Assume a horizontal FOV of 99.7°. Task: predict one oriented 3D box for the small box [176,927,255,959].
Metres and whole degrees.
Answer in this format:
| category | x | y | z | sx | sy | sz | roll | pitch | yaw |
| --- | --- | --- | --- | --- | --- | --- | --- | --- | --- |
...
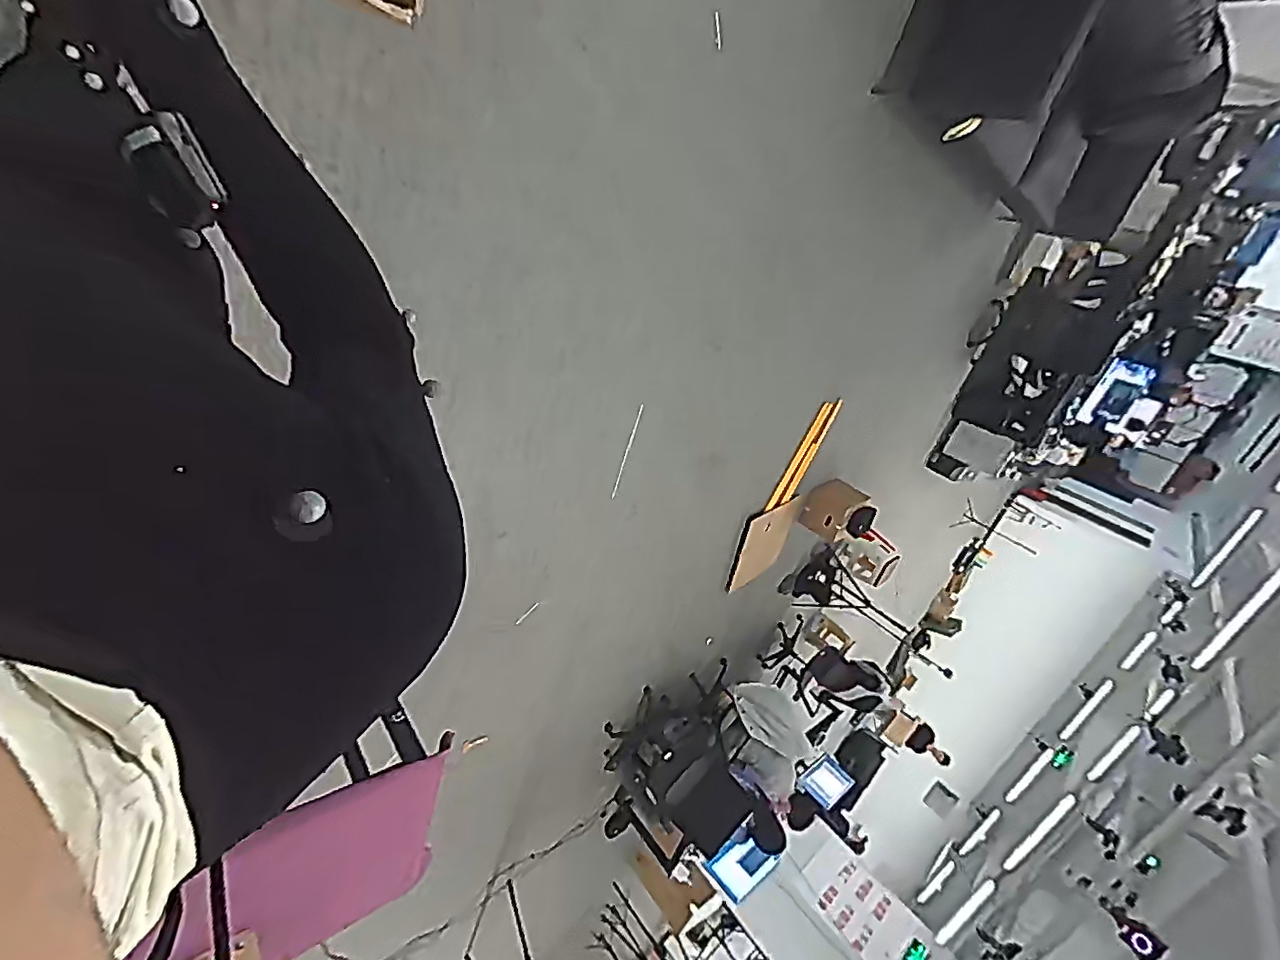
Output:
| category | x | y | z | sx | sy | sz | roll | pitch | yaw |
| --- | --- | --- | --- | --- | --- | --- | --- | --- | --- |
| small box | -1.005 | 1.208 | 1.264 | 0.168 | 0.176 | 0.179 | -7 | 125 | -44 |
